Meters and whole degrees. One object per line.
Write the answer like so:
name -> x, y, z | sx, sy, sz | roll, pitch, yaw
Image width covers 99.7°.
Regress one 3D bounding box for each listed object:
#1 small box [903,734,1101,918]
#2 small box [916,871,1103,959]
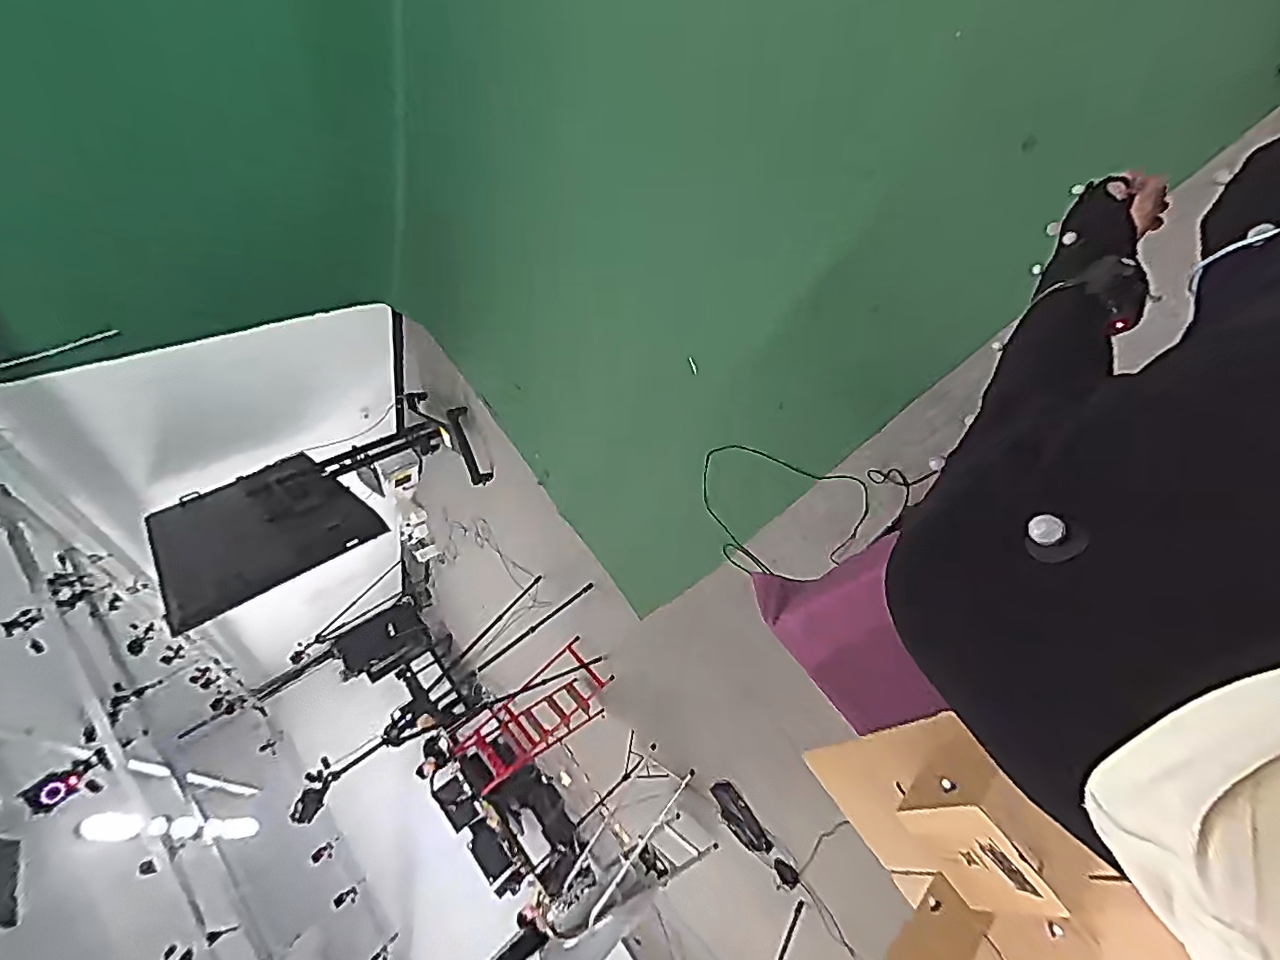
small box -> 0.558, 0.520, 0.831 | 0.168, 0.176, 0.179 | 51, 145, 16
small box -> 0.623, 0.772, 0.915 | 0.168, 0.176, 0.179 | 52, 144, 16
